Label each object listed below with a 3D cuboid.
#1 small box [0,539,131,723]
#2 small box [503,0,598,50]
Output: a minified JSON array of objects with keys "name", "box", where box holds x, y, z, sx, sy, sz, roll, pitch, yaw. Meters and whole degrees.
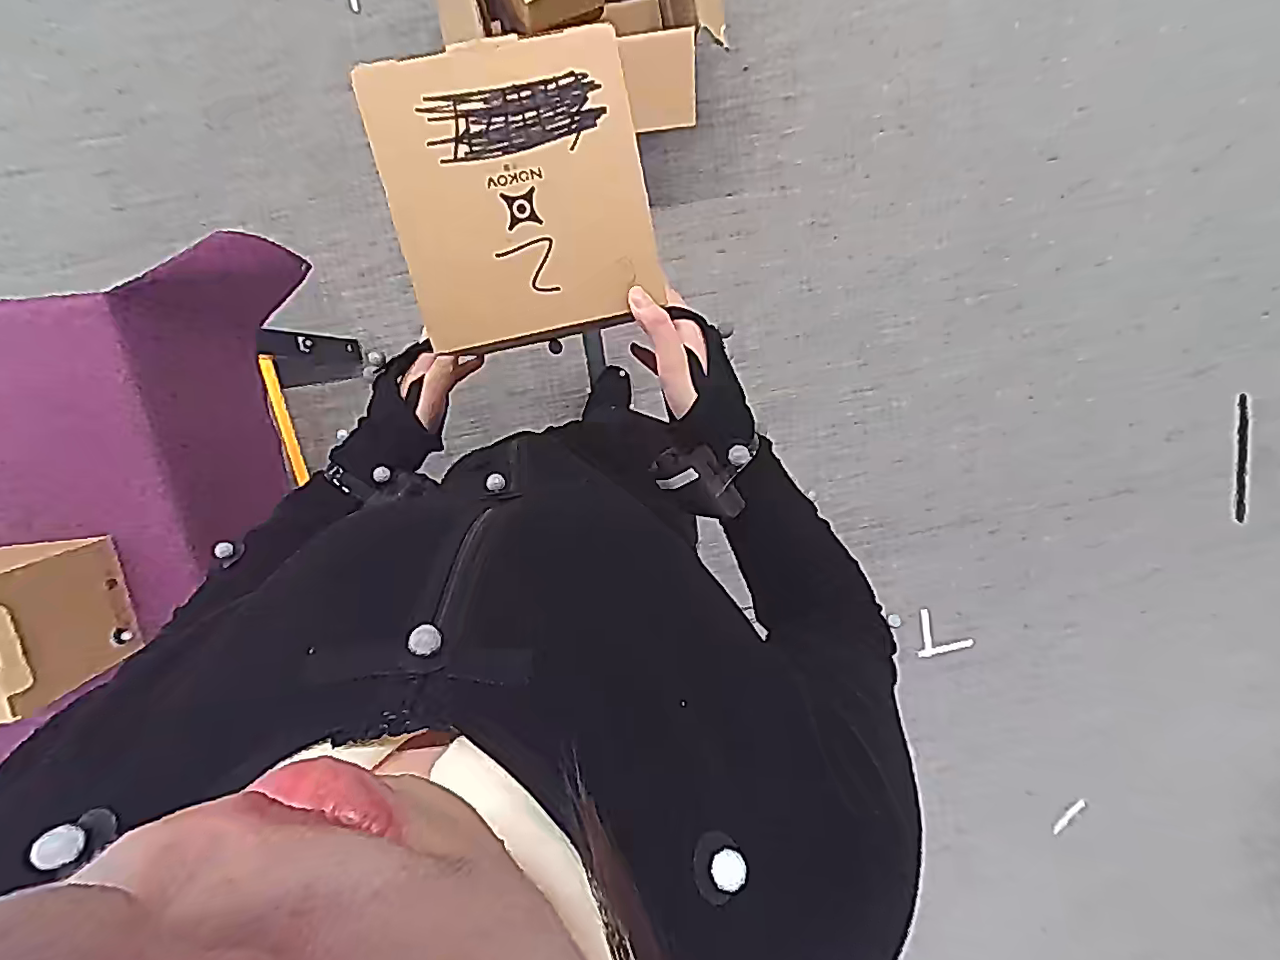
[{"name":"small box","box":[-0.775,0.177,0.653,0.179,0.176,0.168,-6,101,-1]},{"name":"small box","box":[-0.185,-0.975,1.024,0.179,0.176,0.168,-32,103,-1]}]
